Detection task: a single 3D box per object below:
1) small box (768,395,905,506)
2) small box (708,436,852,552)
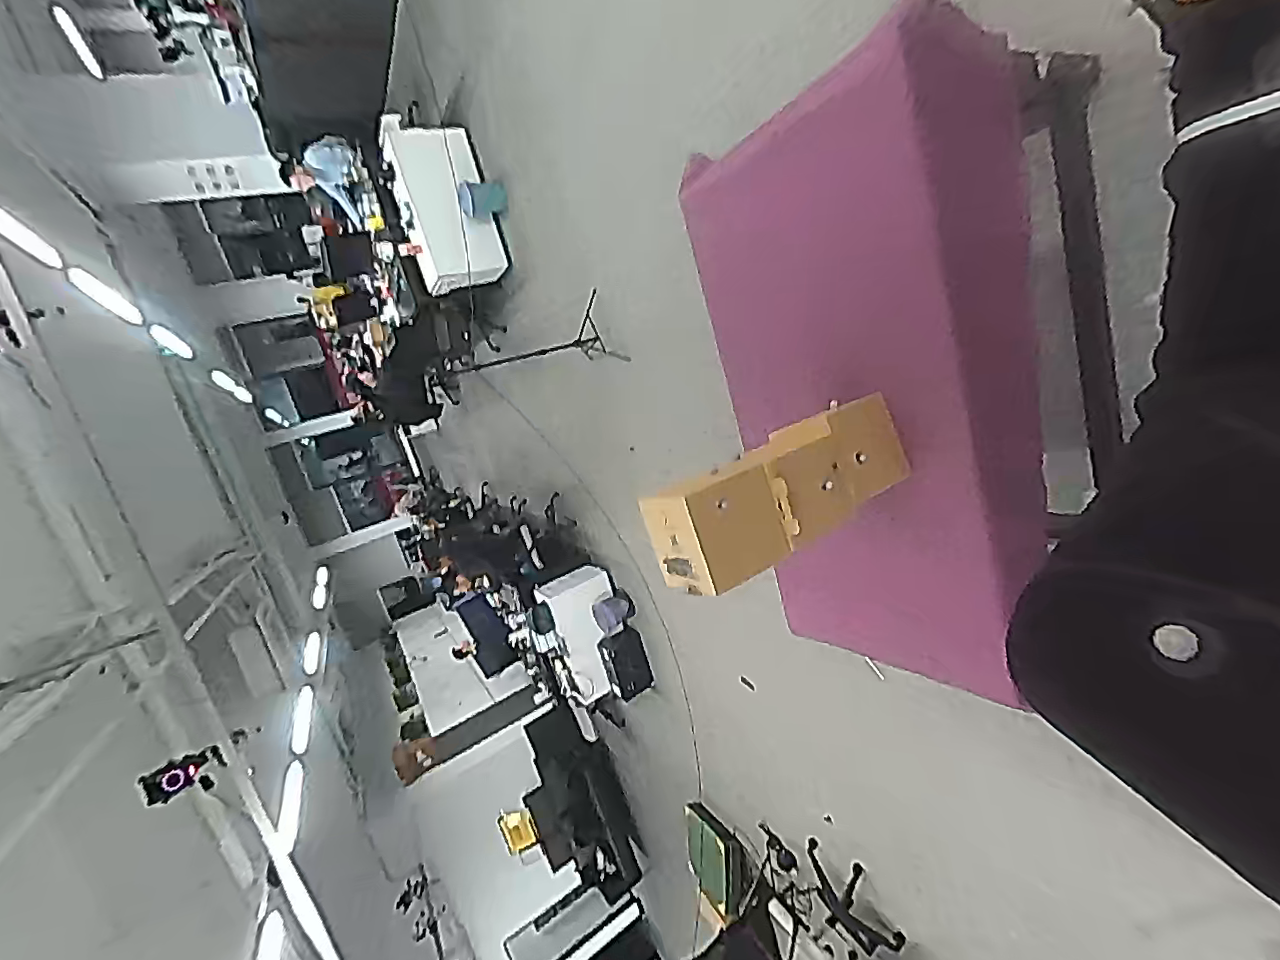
[{"bbox_3d":[0.397,-0.052,1.091,0.168,0.176,0.179,-18,93,63],"label":"small box"},{"bbox_3d":[0.264,0.024,1.026,0.179,0.176,0.168,-7,105,62],"label":"small box"}]
